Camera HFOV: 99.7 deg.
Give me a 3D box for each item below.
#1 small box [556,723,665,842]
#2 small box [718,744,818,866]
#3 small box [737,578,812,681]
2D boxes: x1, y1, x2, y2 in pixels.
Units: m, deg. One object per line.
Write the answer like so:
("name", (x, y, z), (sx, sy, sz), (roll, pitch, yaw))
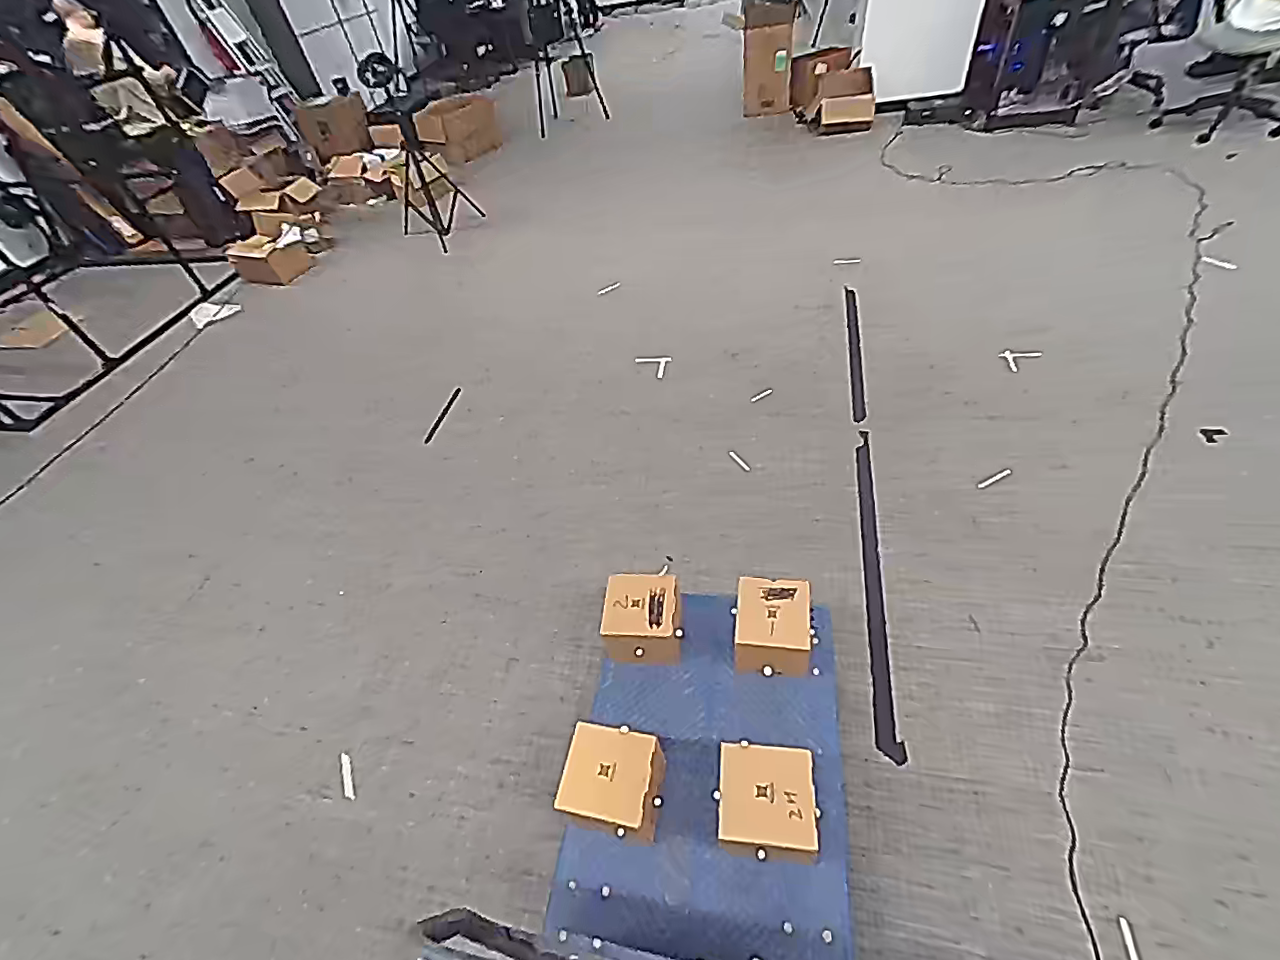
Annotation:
("small box", (-0.052, 0.635, 1.131), (0.179, 0.176, 0.168), (4, 49, 14))
("small box", (0.250, 0.640, 1.063), (0.179, 0.176, 0.168), (0, 48, 12))
("small box", (0.323, 0.360, 1.305), (0.168, 0.176, 0.179), (2, 50, 14))
